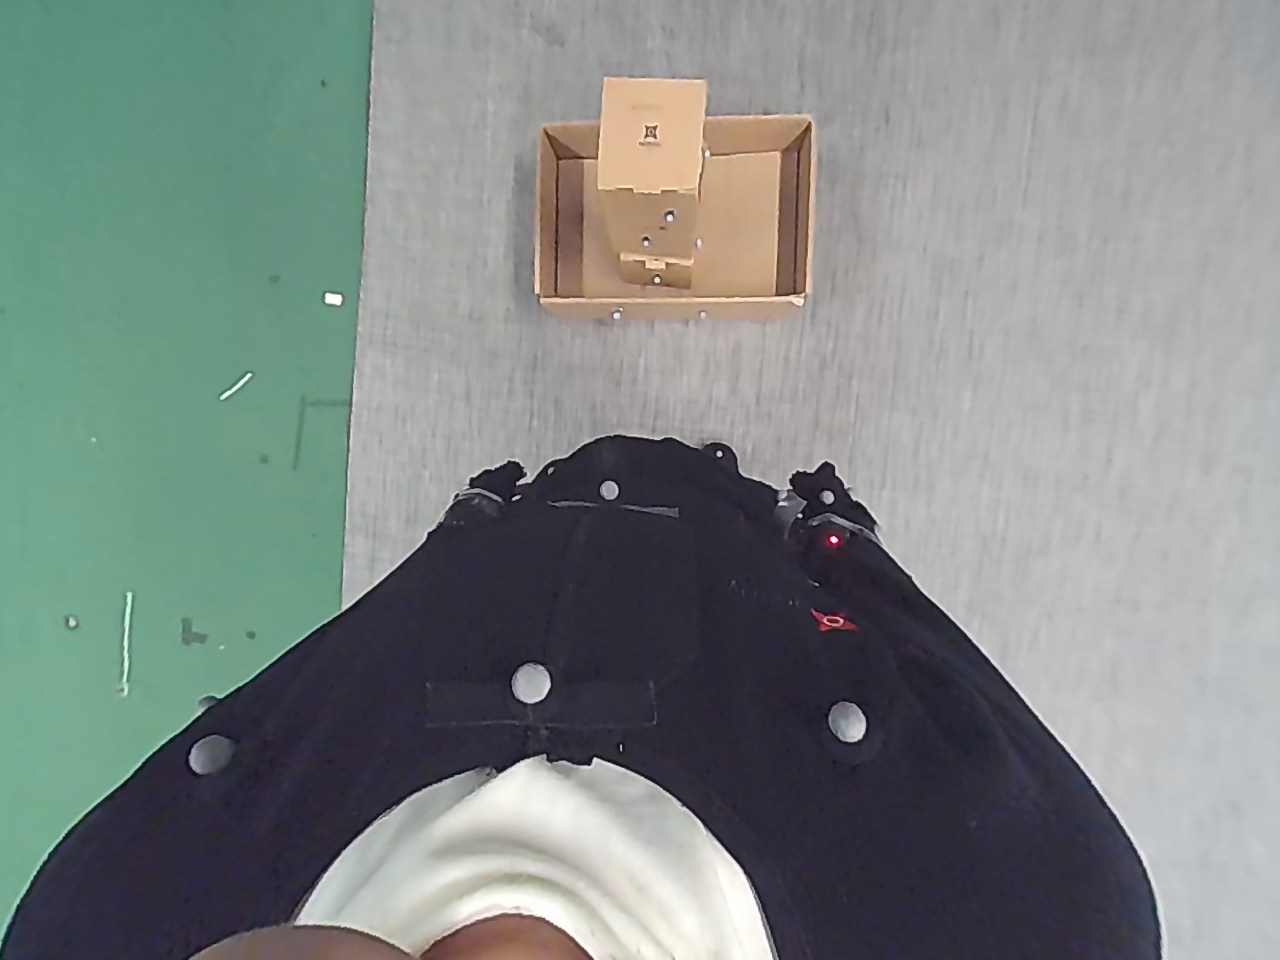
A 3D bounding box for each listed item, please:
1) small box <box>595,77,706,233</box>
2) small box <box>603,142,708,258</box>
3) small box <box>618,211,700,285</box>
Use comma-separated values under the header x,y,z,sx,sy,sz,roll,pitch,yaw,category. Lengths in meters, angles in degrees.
x,y,z,sx,sy,sz,roll,pitch,yaw,category
0.021,-0.550,0.936,0.168,0.176,0.179,5,92,3,small box
0.034,-0.569,1.097,0.179,0.176,0.168,10,93,5,small box
0.050,-0.568,1.261,0.168,0.176,0.179,8,95,4,small box
